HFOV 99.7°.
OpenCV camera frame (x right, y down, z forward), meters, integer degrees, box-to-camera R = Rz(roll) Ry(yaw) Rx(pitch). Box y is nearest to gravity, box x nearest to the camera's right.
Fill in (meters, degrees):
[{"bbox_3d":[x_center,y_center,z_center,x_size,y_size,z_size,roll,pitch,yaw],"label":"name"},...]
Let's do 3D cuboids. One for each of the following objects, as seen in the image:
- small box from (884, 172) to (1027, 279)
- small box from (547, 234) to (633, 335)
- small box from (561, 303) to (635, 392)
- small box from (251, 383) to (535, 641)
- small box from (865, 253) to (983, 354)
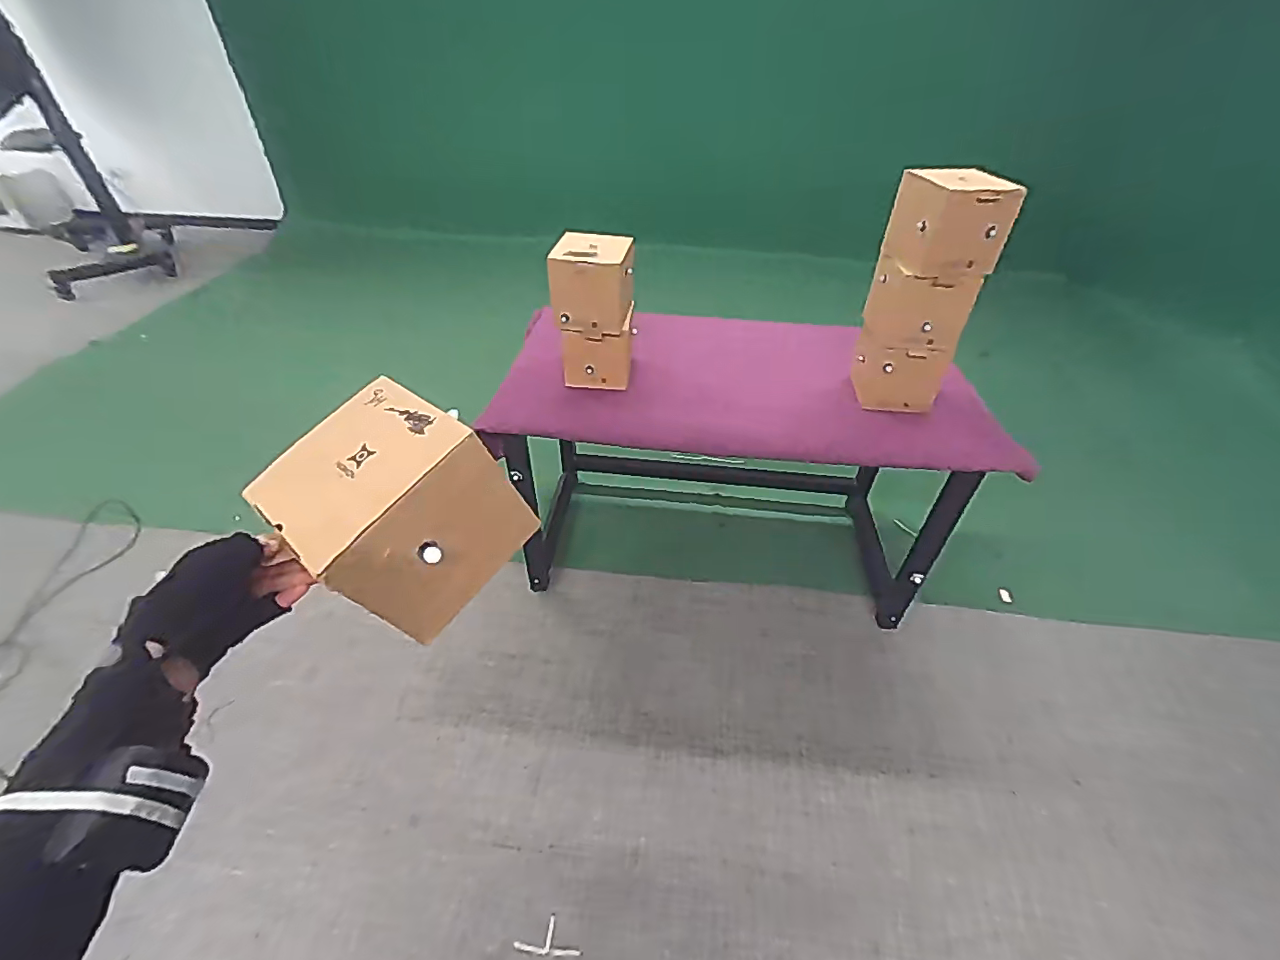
[{"bbox_3d":[0.645,-0.530,1.132,0.168,0.176,0.179,-4,41,-7],"label":"small box"},{"bbox_3d":[-0.111,-0.461,1.278,0.168,0.176,0.179,8,43,5],"label":"small box"},{"bbox_3d":[-0.105,-0.350,1.400,0.168,0.176,0.179,4,43,2],"label":"small box"},{"bbox_3d":[-0.242,0.037,0.565,0.168,0.176,0.179,30,69,31],"label":"small box"},{"bbox_3d":[0.636,-0.408,1.240,0.168,0.176,0.179,3,42,2],"label":"small box"}]
